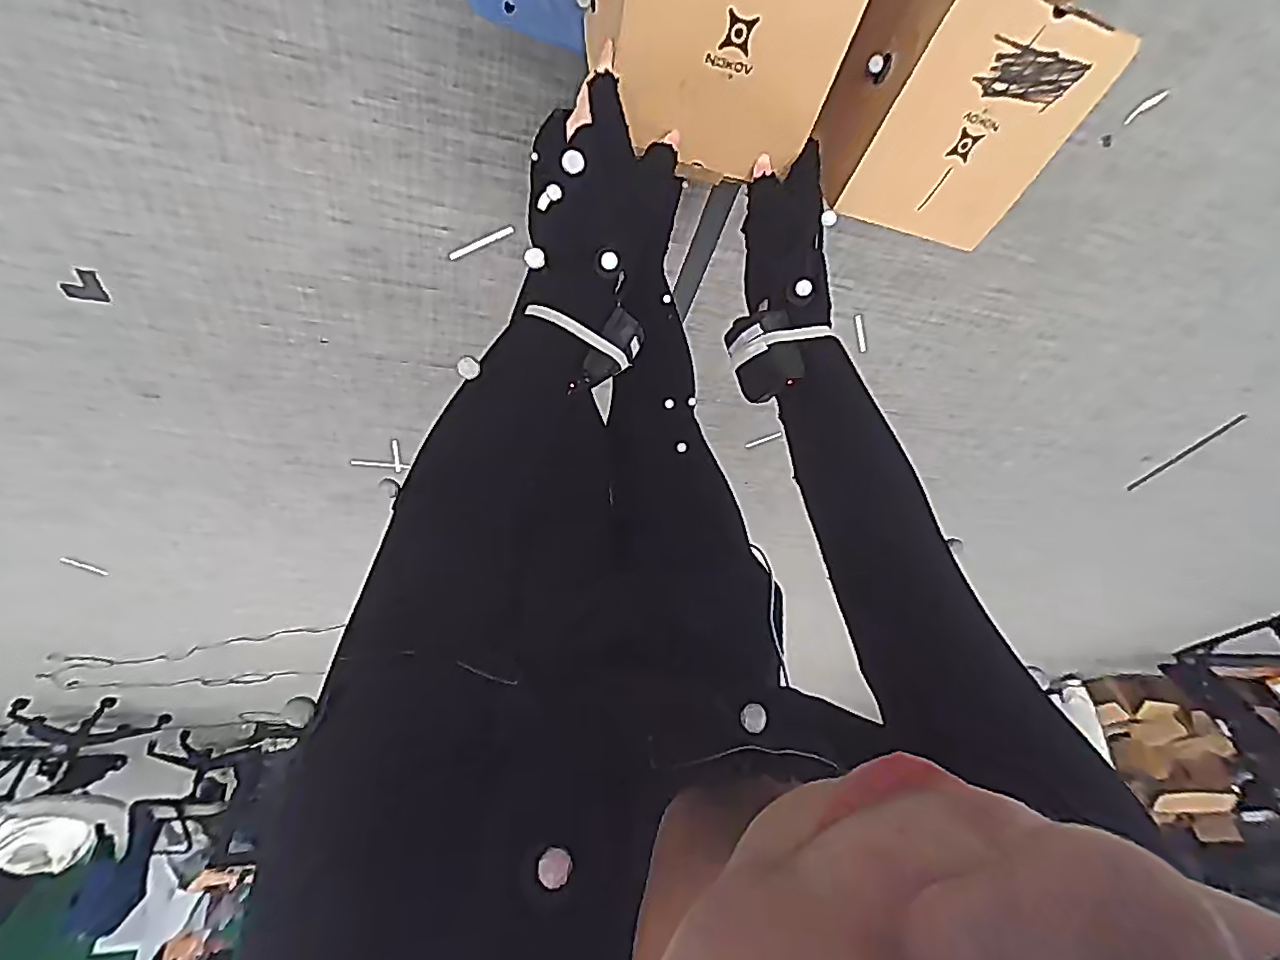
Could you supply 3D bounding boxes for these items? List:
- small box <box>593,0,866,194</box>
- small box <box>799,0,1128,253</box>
[{"bbox_3d":[0.057,-0.372,0.435,0.168,0.176,0.179,4,143,-14],"label":"small box"},{"bbox_3d":[0.265,-0.350,0.499,0.168,0.176,0.179,7,142,-17],"label":"small box"}]
